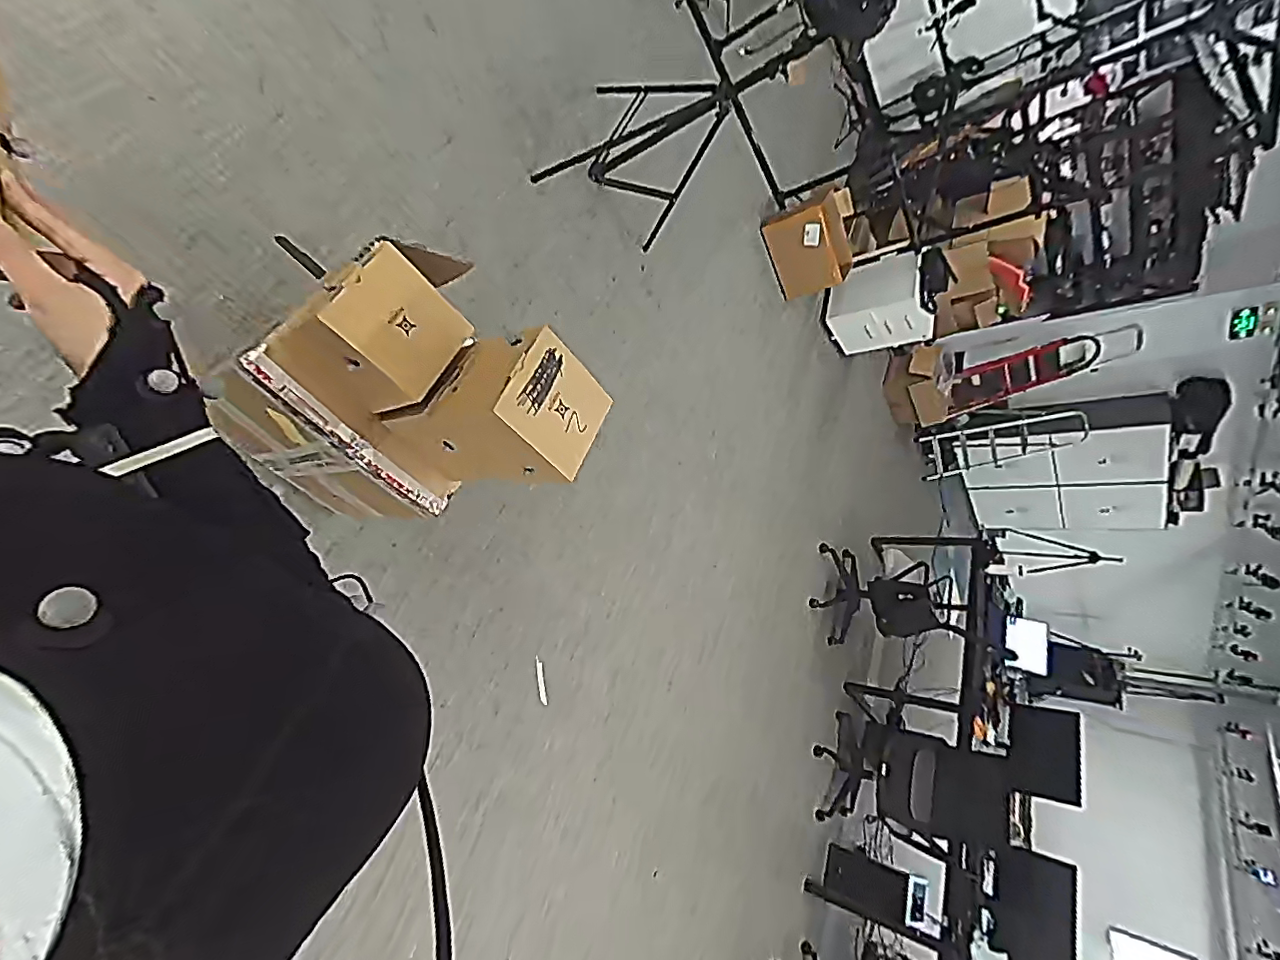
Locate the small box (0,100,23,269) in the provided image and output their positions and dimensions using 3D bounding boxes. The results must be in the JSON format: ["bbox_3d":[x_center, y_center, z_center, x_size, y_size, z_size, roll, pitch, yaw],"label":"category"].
[{"bbox_3d":[-0.490,-0.221,0.301,0.179,0.176,0.168,-10,102,-42],"label":"small box"}]
